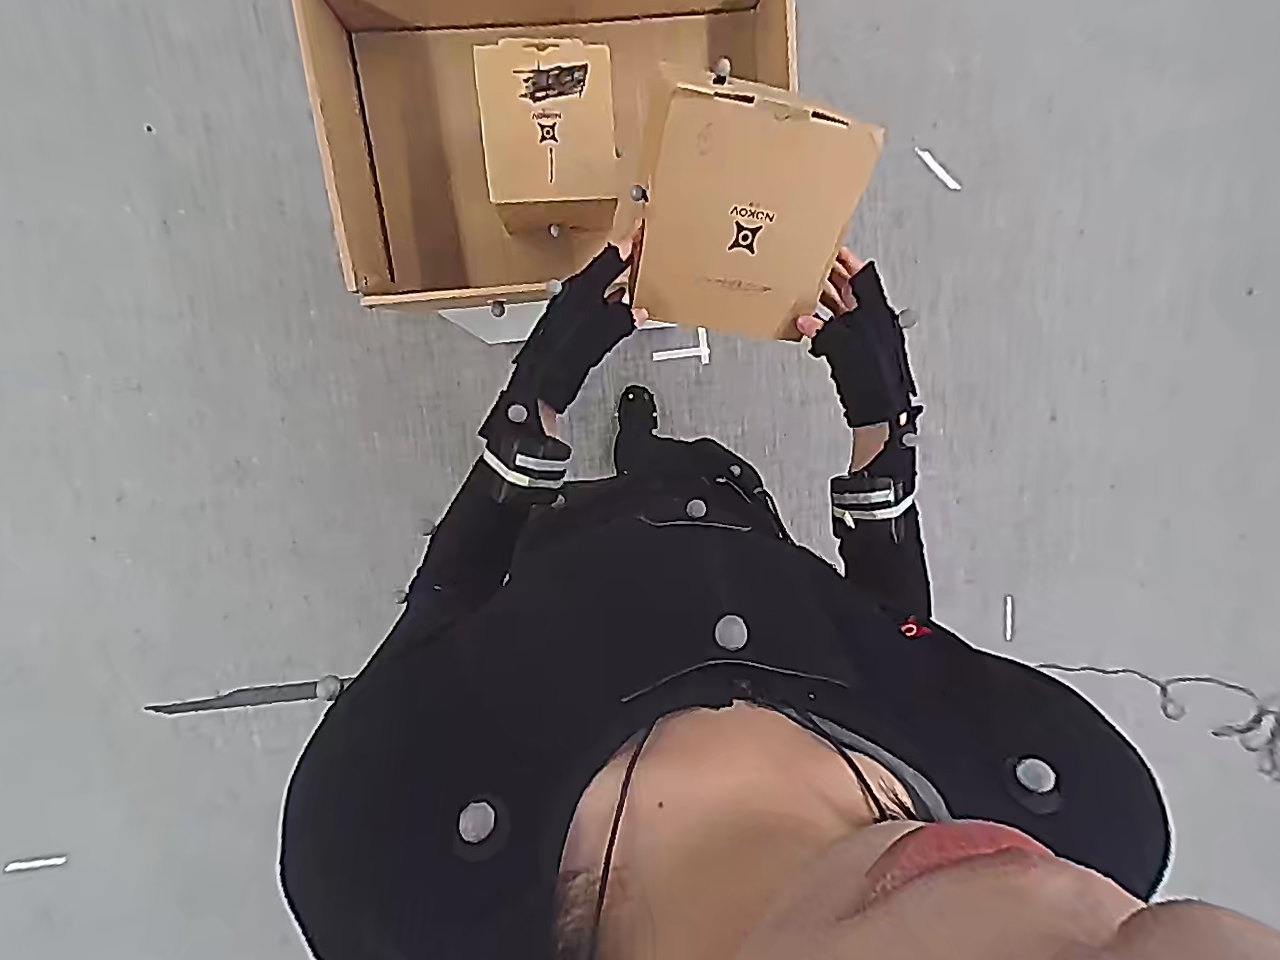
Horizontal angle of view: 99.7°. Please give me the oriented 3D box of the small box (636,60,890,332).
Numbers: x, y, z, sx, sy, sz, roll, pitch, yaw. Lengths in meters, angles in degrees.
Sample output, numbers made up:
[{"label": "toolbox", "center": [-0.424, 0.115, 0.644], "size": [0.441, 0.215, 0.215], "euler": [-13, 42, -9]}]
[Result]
[{"label": "small box", "center": [0.089, -0.264, 0.501], "size": [0.168, 0.176, 0.179], "euler": [6, 132, -7]}]

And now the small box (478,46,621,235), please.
[{"label": "small box", "center": [-0.118, -0.454, 0.747], "size": [0.168, 0.176, 0.179], "euler": [-5, 103, -4]}]
